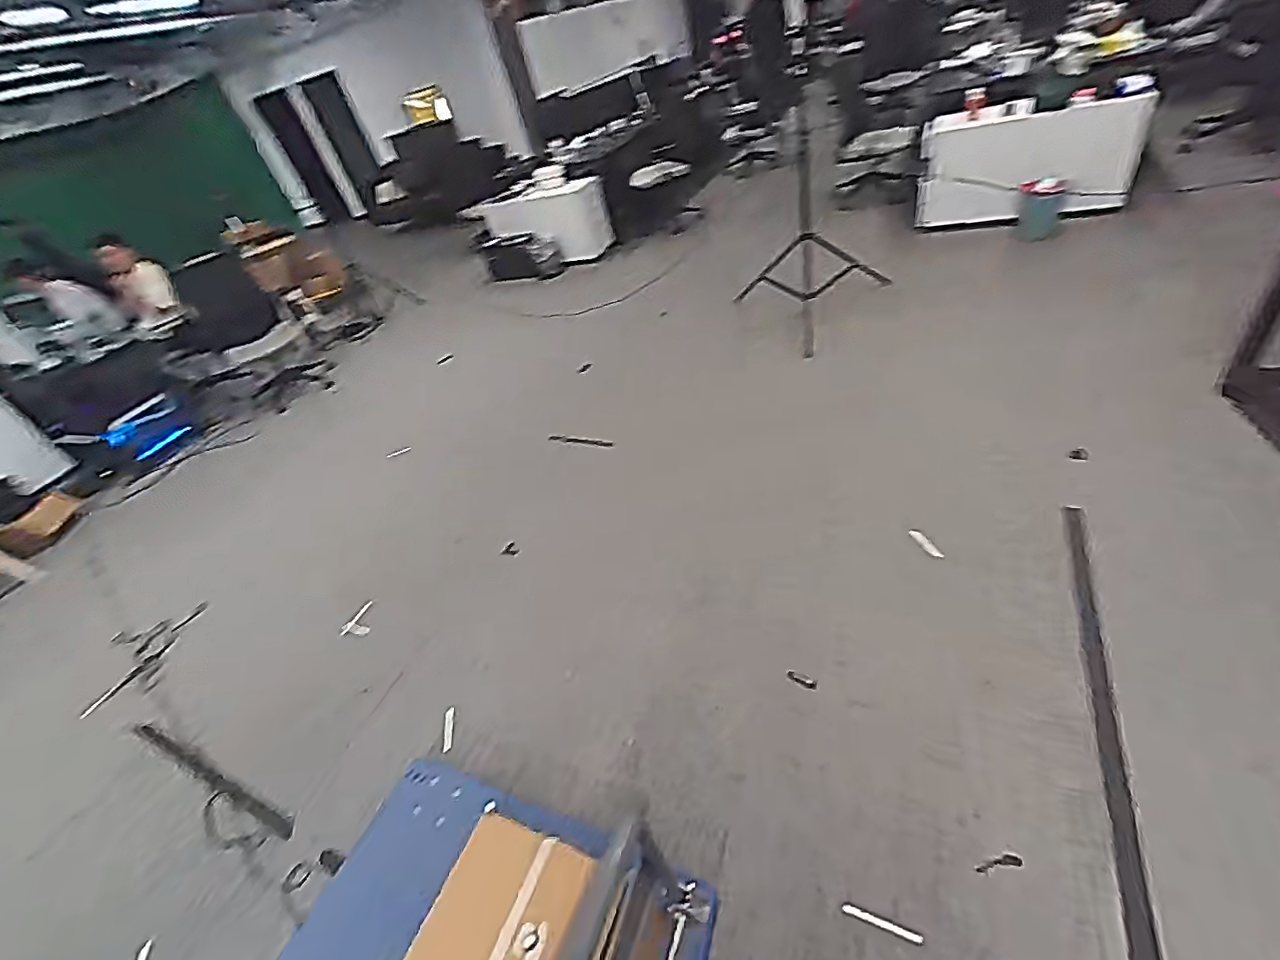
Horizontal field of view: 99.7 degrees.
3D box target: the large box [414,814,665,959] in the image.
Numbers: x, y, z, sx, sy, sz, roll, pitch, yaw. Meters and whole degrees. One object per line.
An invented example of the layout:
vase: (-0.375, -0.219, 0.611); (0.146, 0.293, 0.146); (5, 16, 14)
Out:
large box: (-0.191, 0.897, 0.934); (0.320, 0.320, 0.408); (7, 44, 26)
